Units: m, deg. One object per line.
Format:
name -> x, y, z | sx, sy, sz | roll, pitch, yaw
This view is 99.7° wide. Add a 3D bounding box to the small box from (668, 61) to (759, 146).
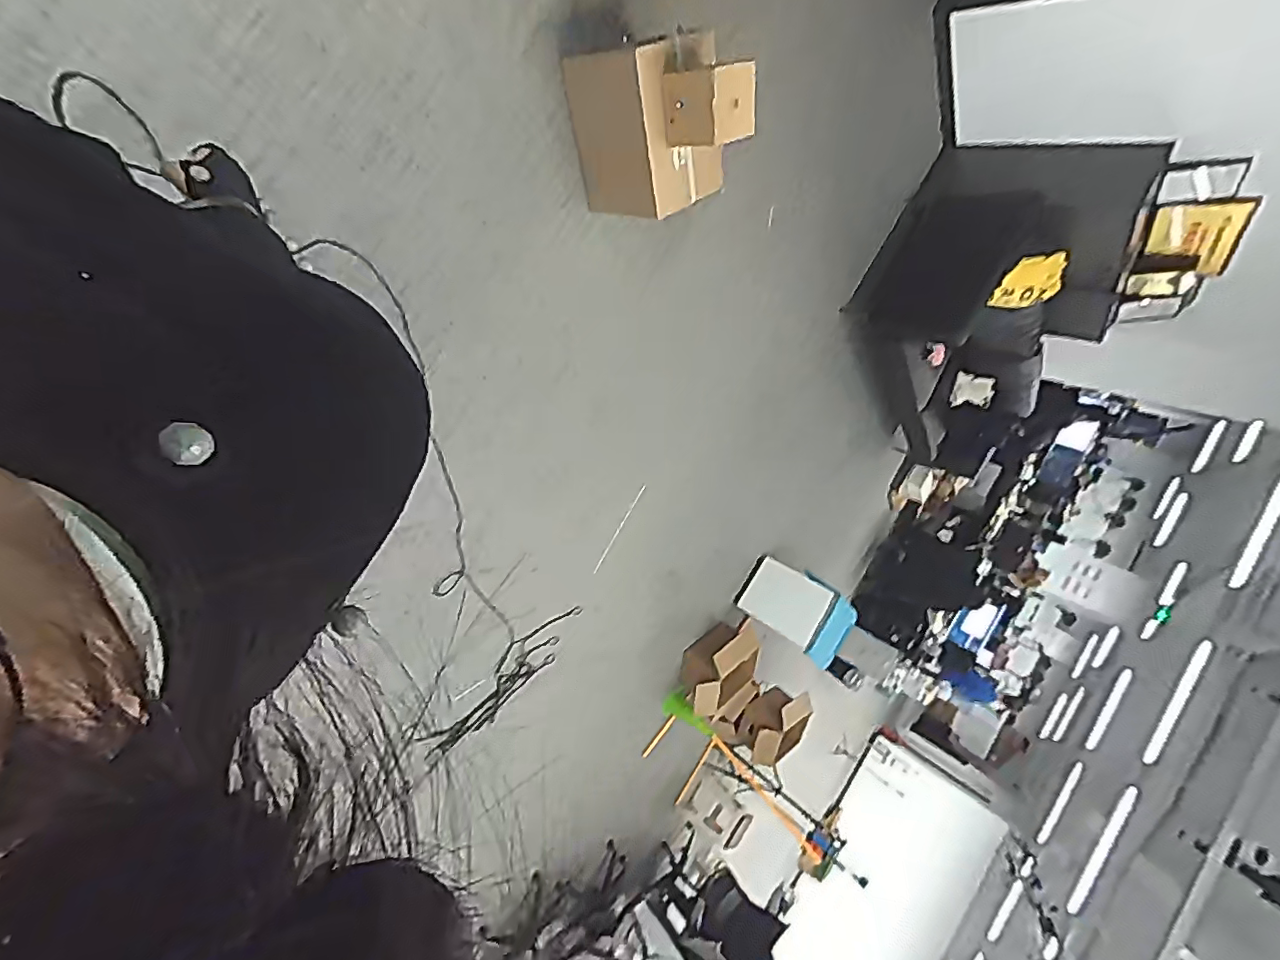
small box -> 0.194, -0.996, 1.429 | 0.179, 0.176, 0.168 | -36, 136, -30
